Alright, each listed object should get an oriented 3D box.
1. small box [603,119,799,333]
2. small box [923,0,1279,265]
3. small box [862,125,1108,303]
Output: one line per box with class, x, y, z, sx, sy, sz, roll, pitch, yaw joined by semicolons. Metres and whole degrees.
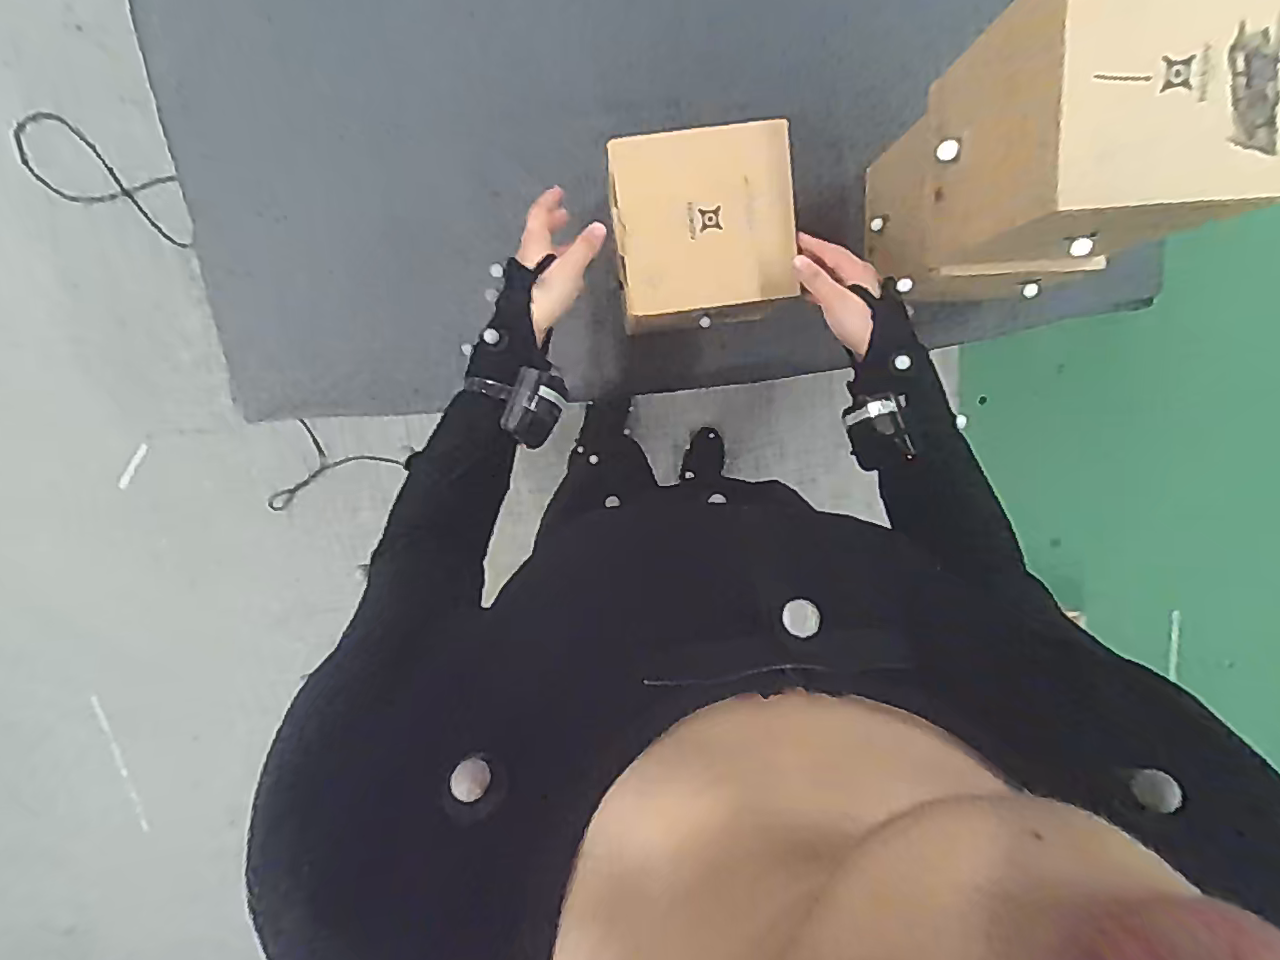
small box;0.058;-0.263;0.600;0.179;0.176;0.168;-9;101;-2
small box;0.362;-0.281;0.438;0.179;0.176;0.168;-4;99;0
small box;0.372;-0.297;0.601;0.179;0.176;0.168;-3;98;-1
